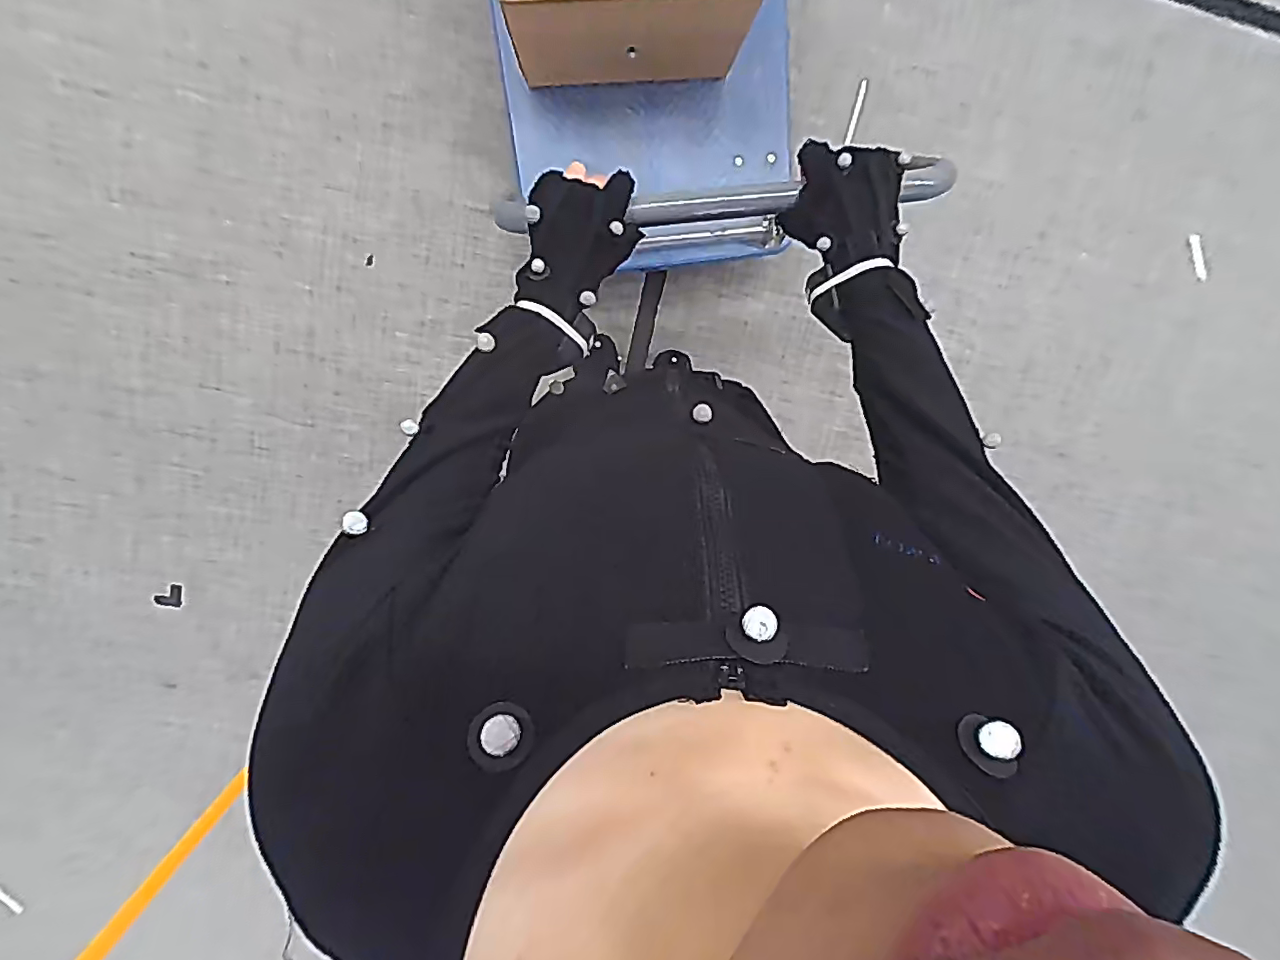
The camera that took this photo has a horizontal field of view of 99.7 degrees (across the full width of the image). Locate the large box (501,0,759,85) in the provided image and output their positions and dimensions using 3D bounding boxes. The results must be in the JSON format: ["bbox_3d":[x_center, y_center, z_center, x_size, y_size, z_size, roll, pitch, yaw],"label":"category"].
[{"bbox_3d":[-0.026,-0.907,0.904,0.408,0.320,0.320,-5,106,-2],"label":"large box"}]

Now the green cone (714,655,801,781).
[{"bbox_3d":[0.363,0.693,1.526,0.202,0.368,0.200,14,104,-9],"label":"green cone"}]
